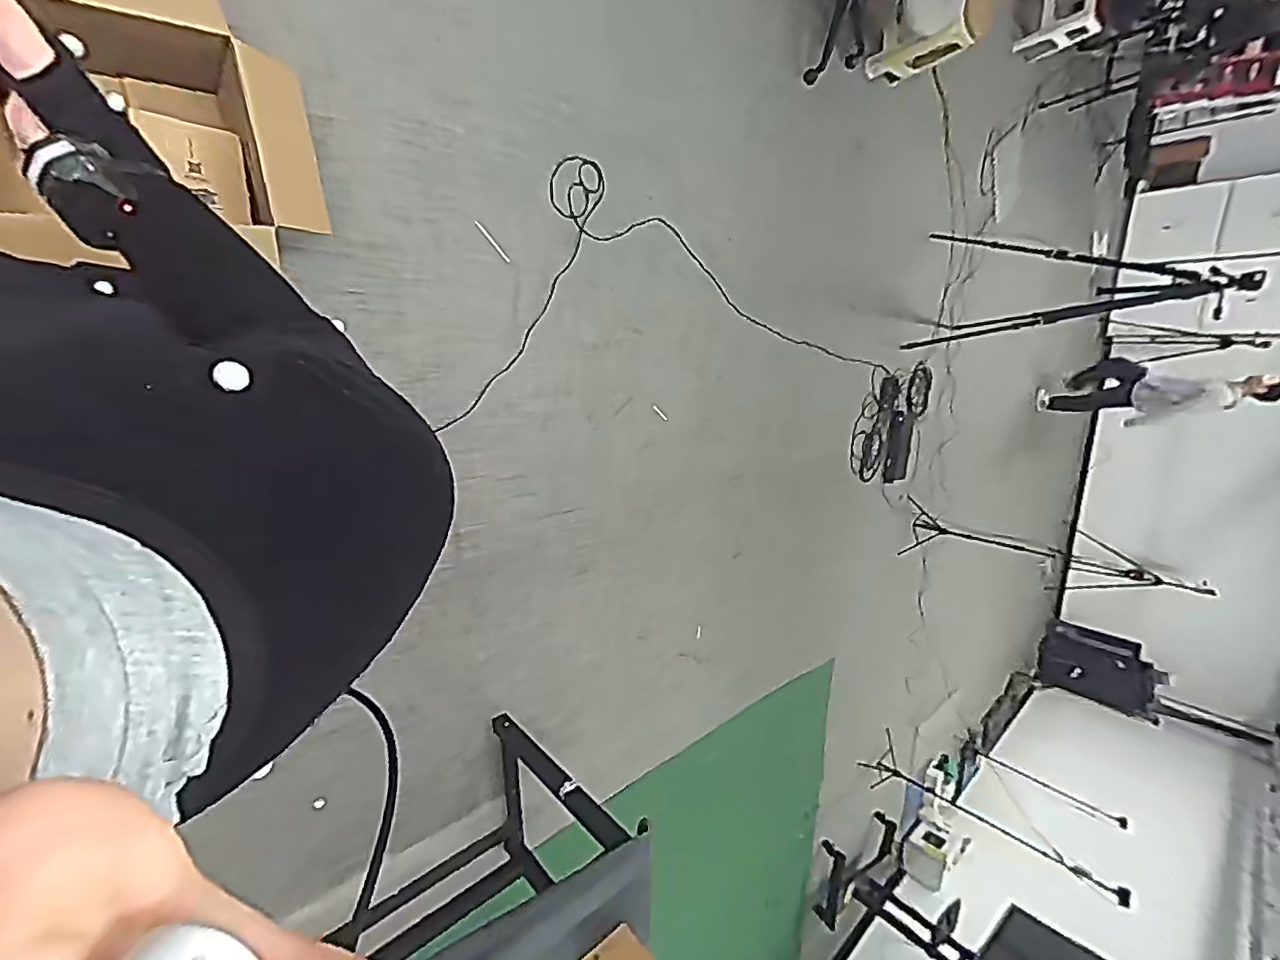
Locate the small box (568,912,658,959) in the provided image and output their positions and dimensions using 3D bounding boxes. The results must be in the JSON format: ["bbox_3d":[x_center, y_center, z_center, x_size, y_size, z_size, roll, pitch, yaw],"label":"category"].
[{"bbox_3d":[-0.064,1.227,1.320,0.168,0.176,0.179,-13,111,-41],"label":"small box"}]
